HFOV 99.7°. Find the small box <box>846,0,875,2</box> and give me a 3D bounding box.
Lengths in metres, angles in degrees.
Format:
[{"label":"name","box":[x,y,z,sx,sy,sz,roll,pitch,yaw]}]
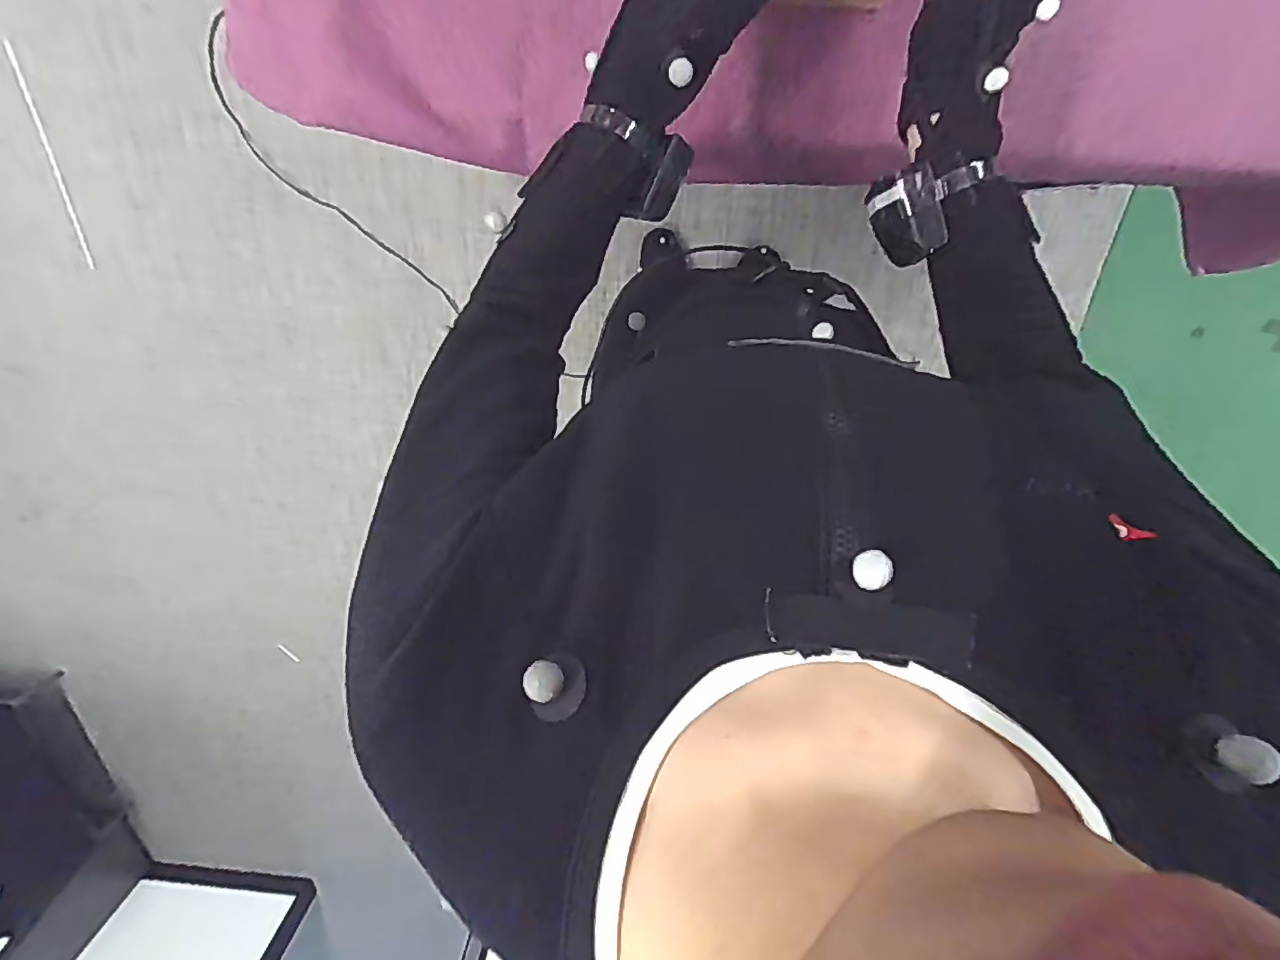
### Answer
[{"label":"small box","box":[0.154,-0.505,0.414,0.168,0.176,0.179,5,115,2]}]
